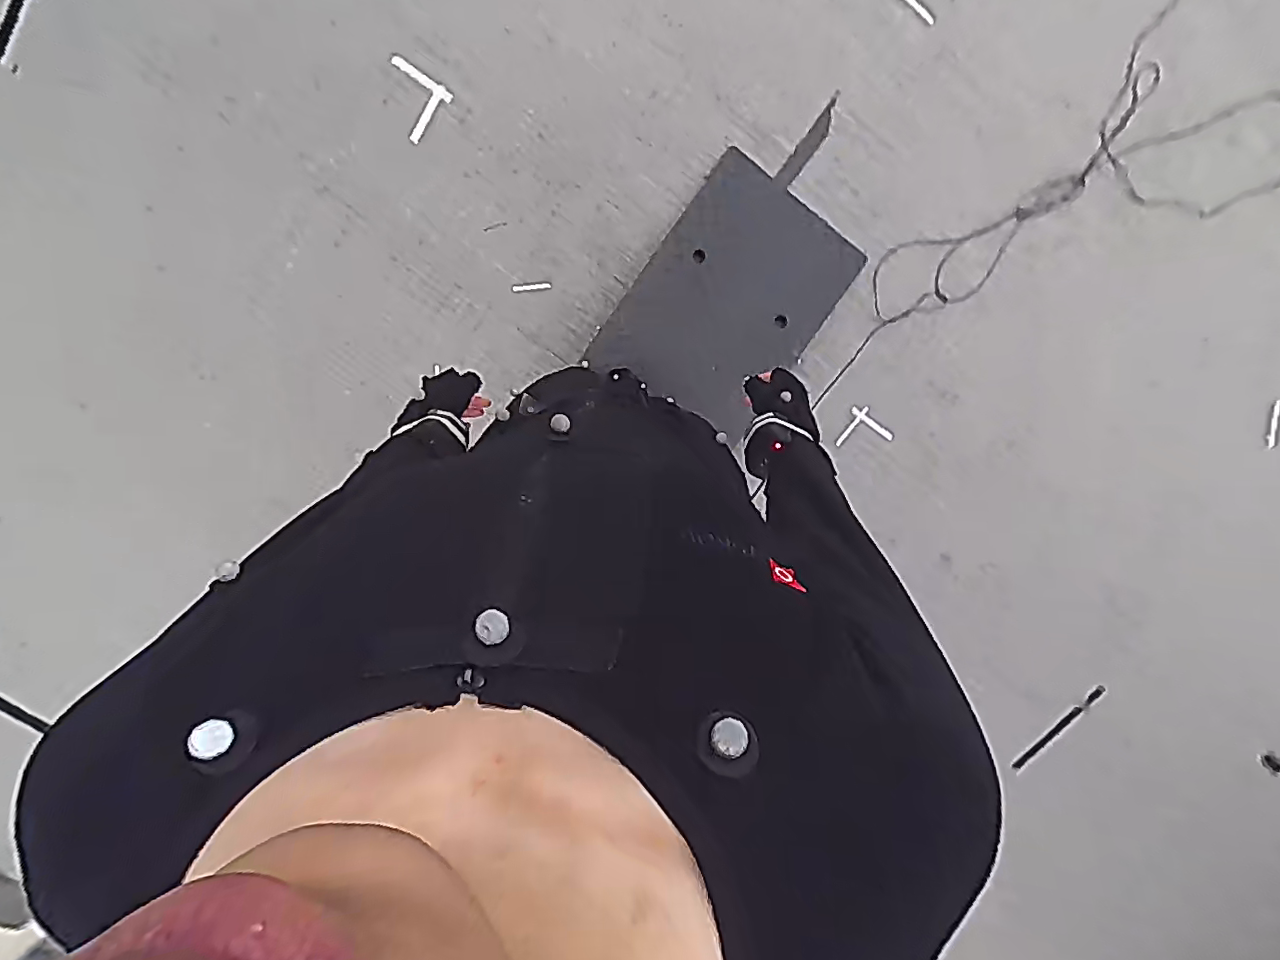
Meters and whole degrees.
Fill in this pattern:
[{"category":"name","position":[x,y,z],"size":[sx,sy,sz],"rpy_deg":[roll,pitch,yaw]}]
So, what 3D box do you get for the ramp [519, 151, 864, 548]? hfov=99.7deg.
[{"category":"ramp","position":[0.147,-0.350,1.483],"size":[0.509,0.206,0.991],"rpy_deg":[34,100,-6]}]
